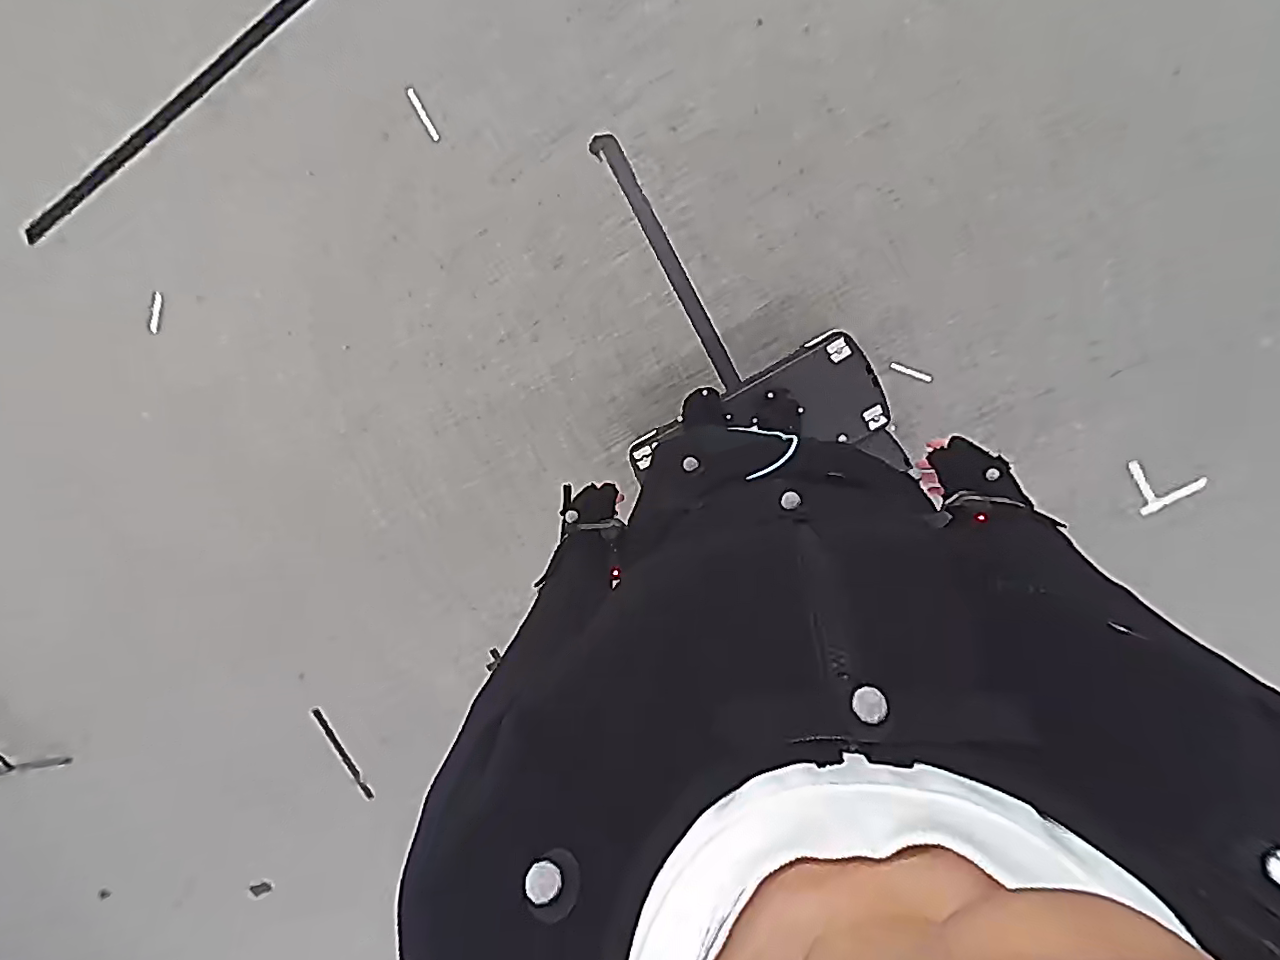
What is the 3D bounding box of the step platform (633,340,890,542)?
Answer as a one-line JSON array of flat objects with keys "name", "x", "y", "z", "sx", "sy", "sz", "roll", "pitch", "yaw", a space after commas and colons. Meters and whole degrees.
[{"name": "step platform", "x": 0.319, "y": -0.102, "z": 1.509, "sx": 0.684, "sy": 0.204, "sz": 0.286, "roll": -30, "pitch": 97, "yaw": 10}]
